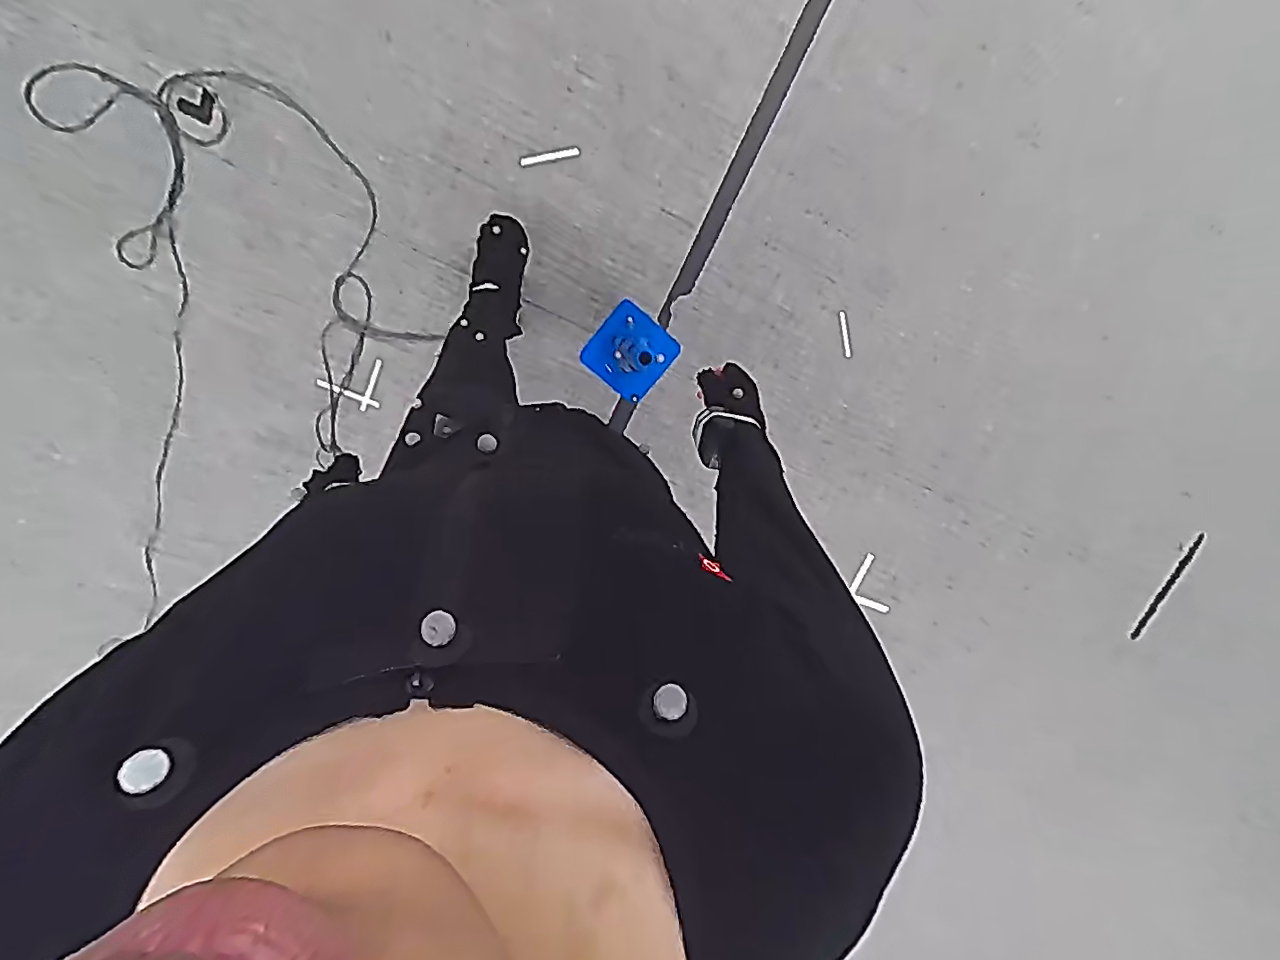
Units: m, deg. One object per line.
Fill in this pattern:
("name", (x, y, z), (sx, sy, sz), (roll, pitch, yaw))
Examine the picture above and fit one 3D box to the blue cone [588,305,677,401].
("blue cone", (-0.001, -0.284, 1.230), (0.192, 0.380, 0.193), (40, 97, -15))
